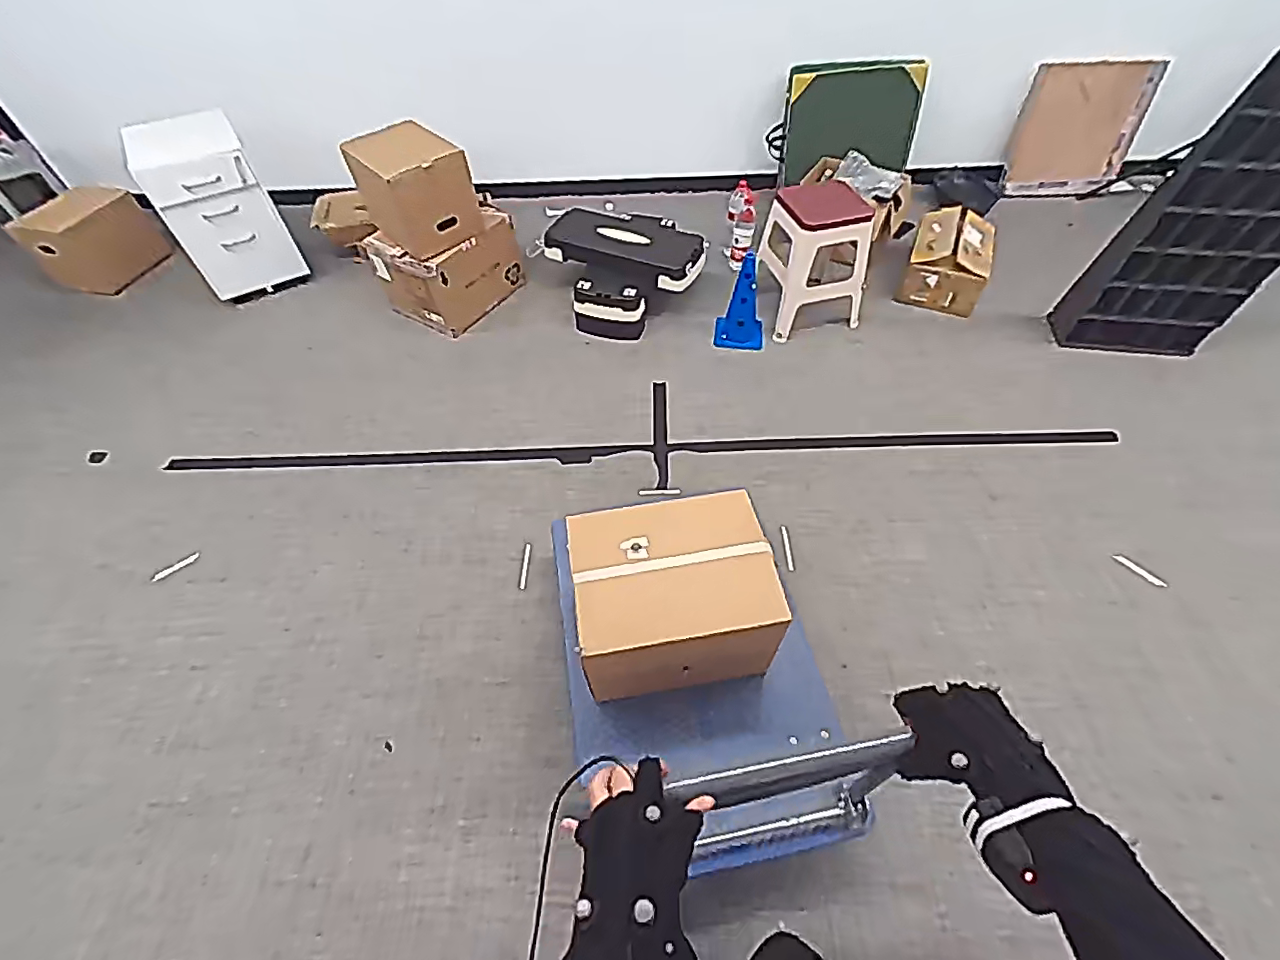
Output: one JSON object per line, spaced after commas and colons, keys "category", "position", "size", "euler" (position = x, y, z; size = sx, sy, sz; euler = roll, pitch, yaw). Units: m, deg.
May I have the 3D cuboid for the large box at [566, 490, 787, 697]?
{"category": "large box", "position": [0.067, 0.262, 1.218], "size": [0.408, 0.320, 0.320], "euler": [-9, 53, -4]}
